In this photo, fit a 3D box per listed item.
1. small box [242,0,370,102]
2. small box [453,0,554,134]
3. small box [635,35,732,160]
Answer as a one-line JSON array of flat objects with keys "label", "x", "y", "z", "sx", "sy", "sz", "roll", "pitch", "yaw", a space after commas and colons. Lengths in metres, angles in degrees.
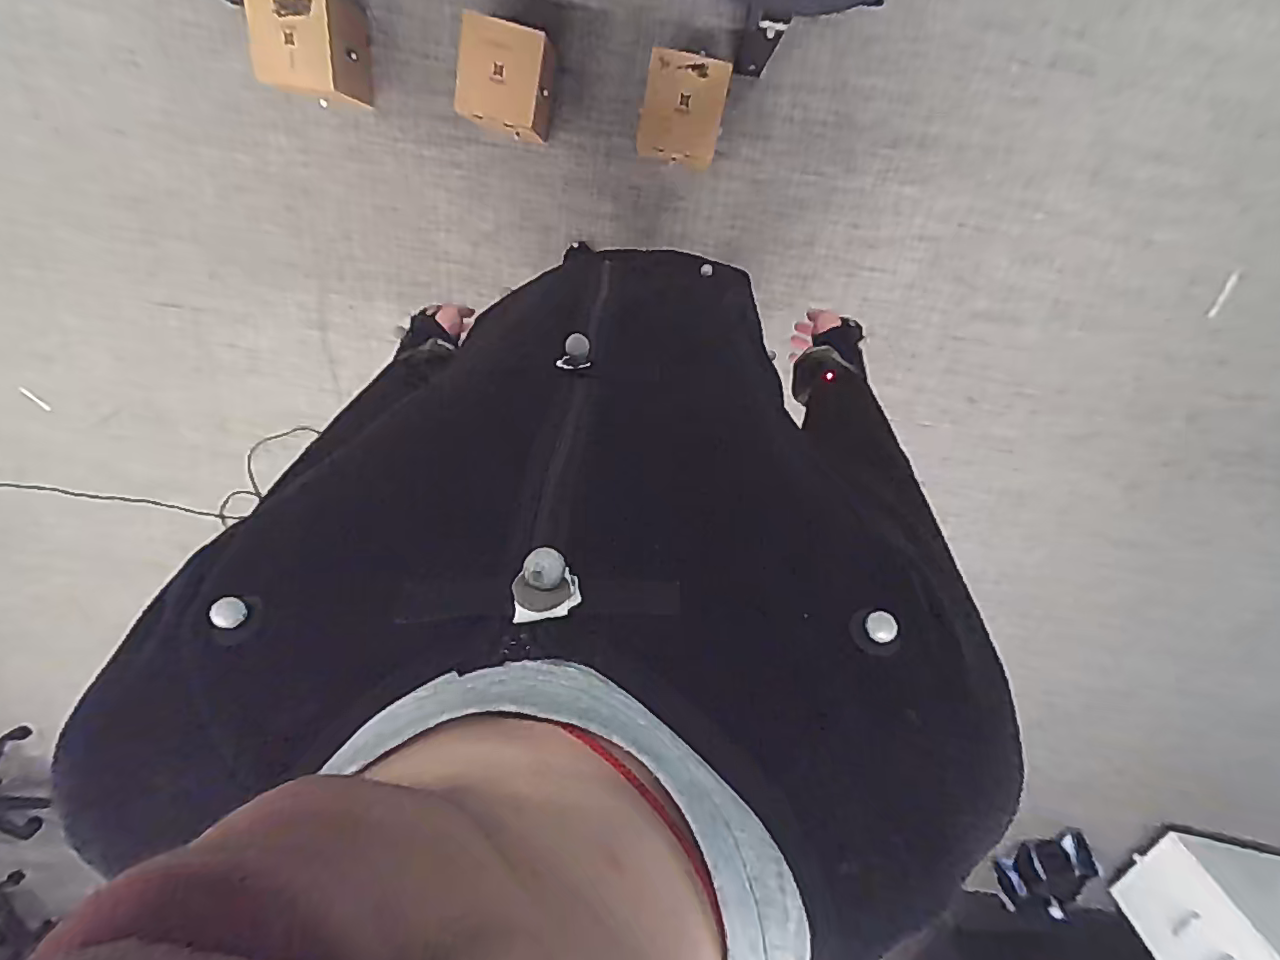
[{"label": "small box", "x": -0.695, "y": -0.927, "z": 1.139, "sx": 0.168, "sy": 0.176, "sz": 0.179, "roll": 7, "pitch": 116, "yaw": -1}, {"label": "small box", "x": -0.285, "y": -0.866, "z": 1.154, "sx": 0.168, "sy": 0.176, "sz": 0.179, "roll": 12, "pitch": 114, "yaw": -5}, {"label": "small box", "x": 0.090, "y": -0.810, "z": 1.165, "sx": 0.168, "sy": 0.176, "sz": 0.179, "roll": 11, "pitch": 114, "yaw": -3}]
